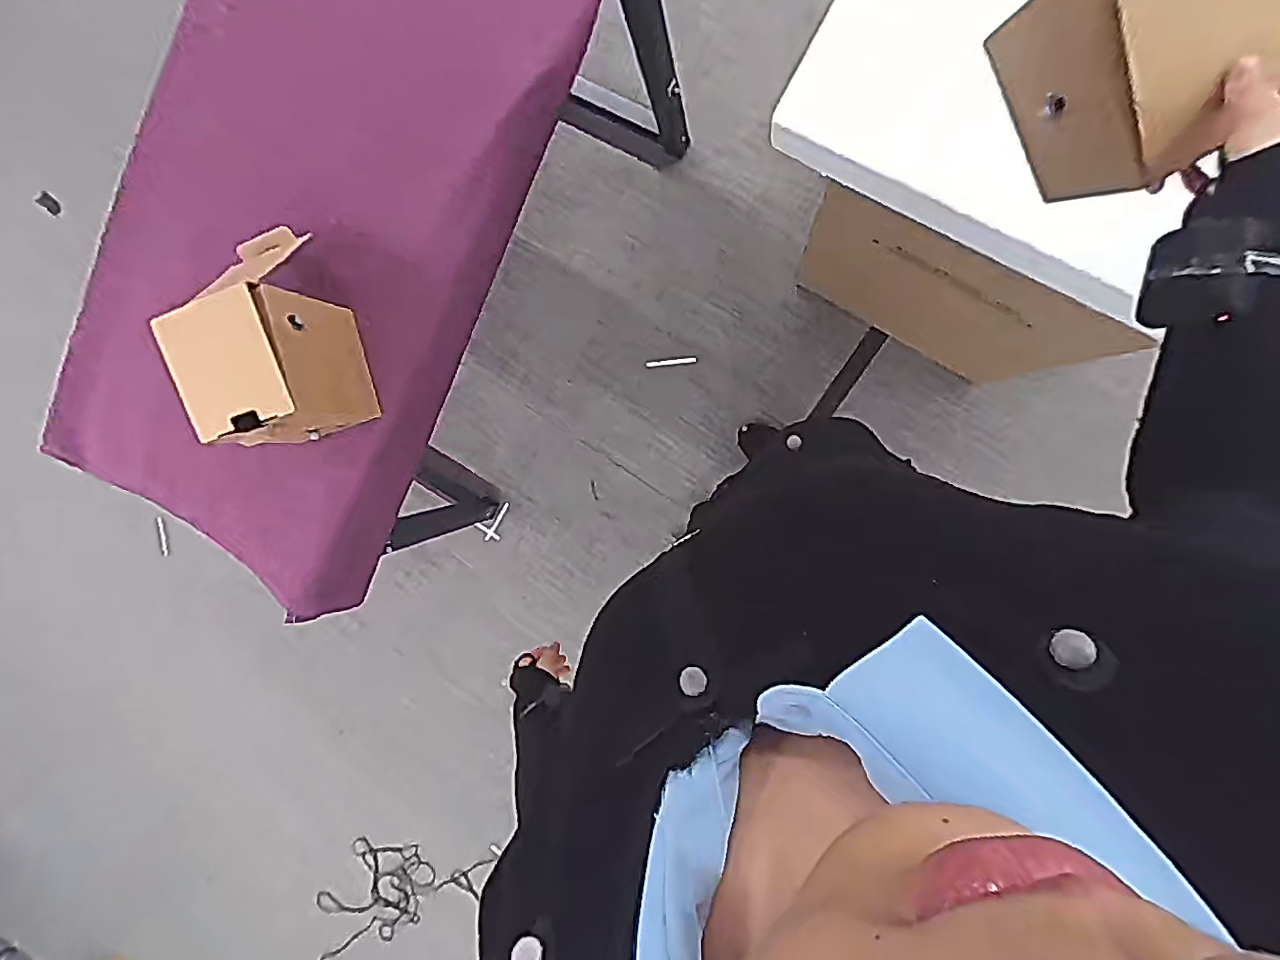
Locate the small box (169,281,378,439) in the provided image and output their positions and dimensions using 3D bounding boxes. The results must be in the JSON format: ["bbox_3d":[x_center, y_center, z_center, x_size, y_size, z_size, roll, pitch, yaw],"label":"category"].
[{"bbox_3d":[-0.525,-0.163,0.796,0.168,0.176,0.179,-15,91,14],"label":"small box"}]
